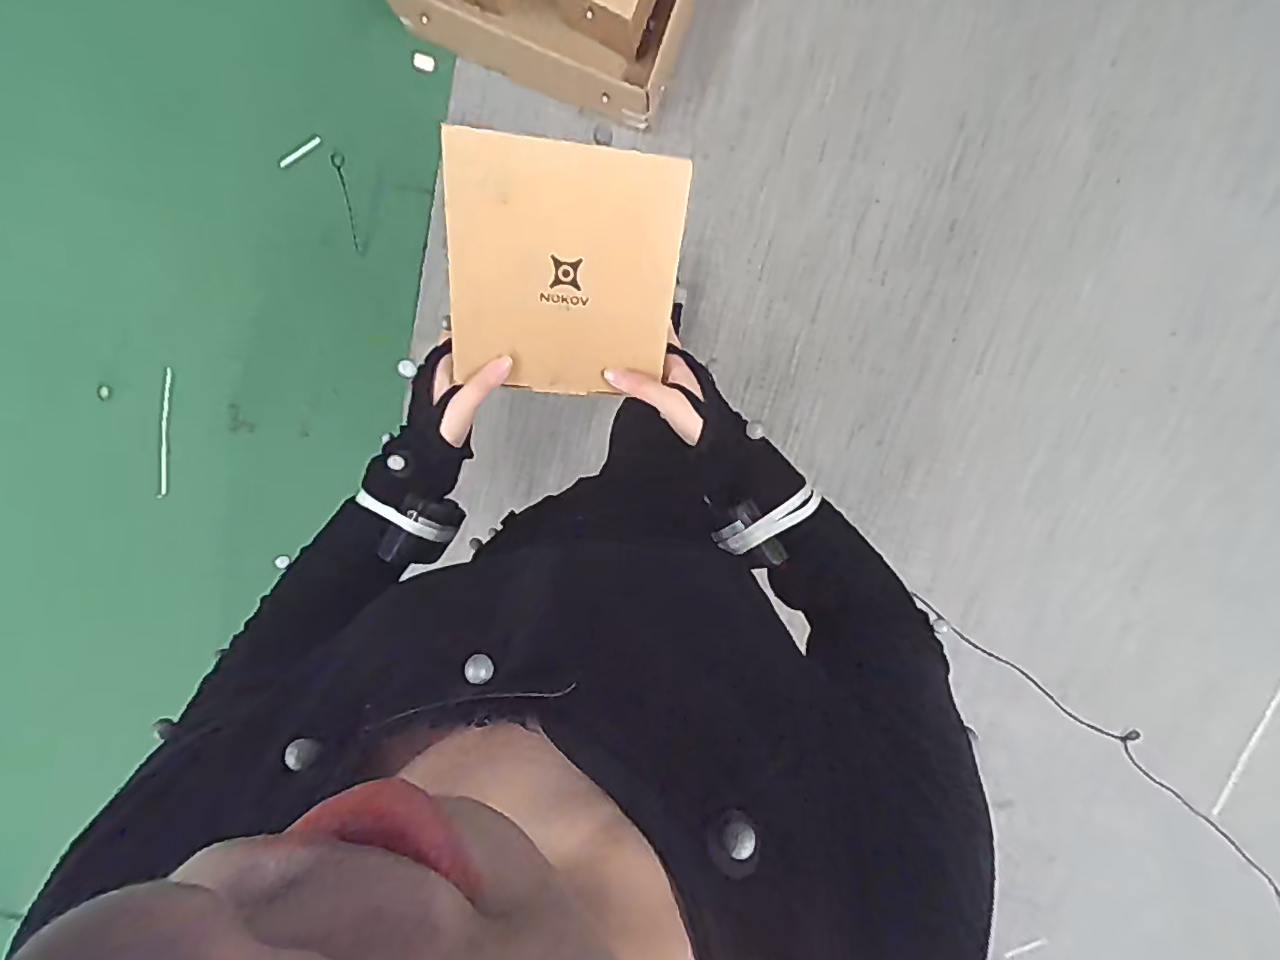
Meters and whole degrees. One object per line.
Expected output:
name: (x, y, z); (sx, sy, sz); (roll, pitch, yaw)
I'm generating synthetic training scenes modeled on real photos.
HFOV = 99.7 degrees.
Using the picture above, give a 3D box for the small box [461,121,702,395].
small box: (-0.058, -0.191, 0.468); (0.168, 0.176, 0.179); (3, 121, -10)
